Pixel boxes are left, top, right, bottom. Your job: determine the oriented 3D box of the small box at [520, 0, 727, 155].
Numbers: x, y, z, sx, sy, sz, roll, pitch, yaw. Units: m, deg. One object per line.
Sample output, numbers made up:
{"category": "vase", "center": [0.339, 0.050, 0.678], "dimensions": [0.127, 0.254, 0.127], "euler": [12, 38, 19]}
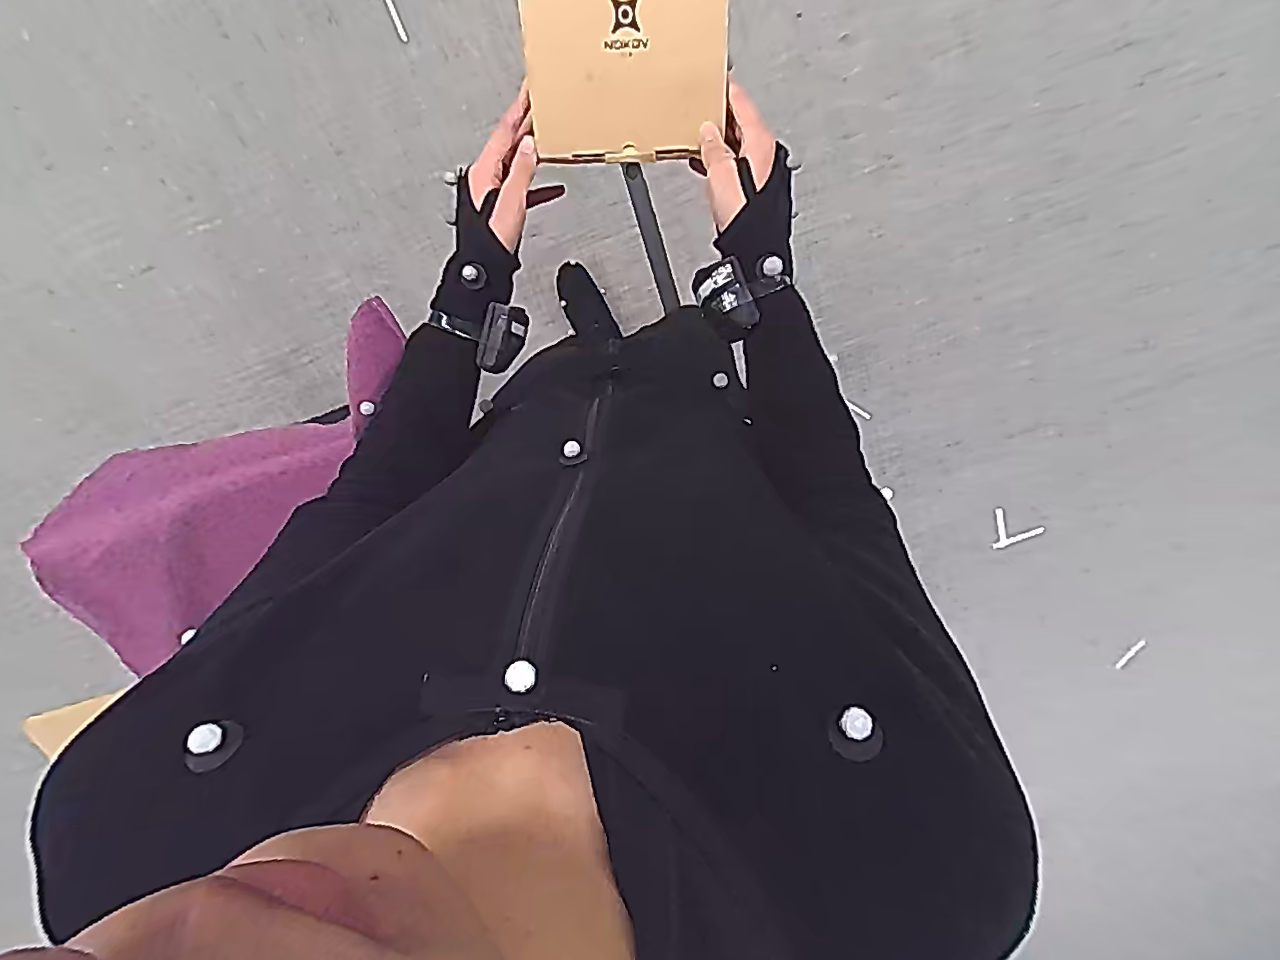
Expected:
{"category": "small box", "center": [-0.010, -0.406, 0.499], "dimensions": [0.168, 0.176, 0.179], "euler": [-2, 120, 2]}
